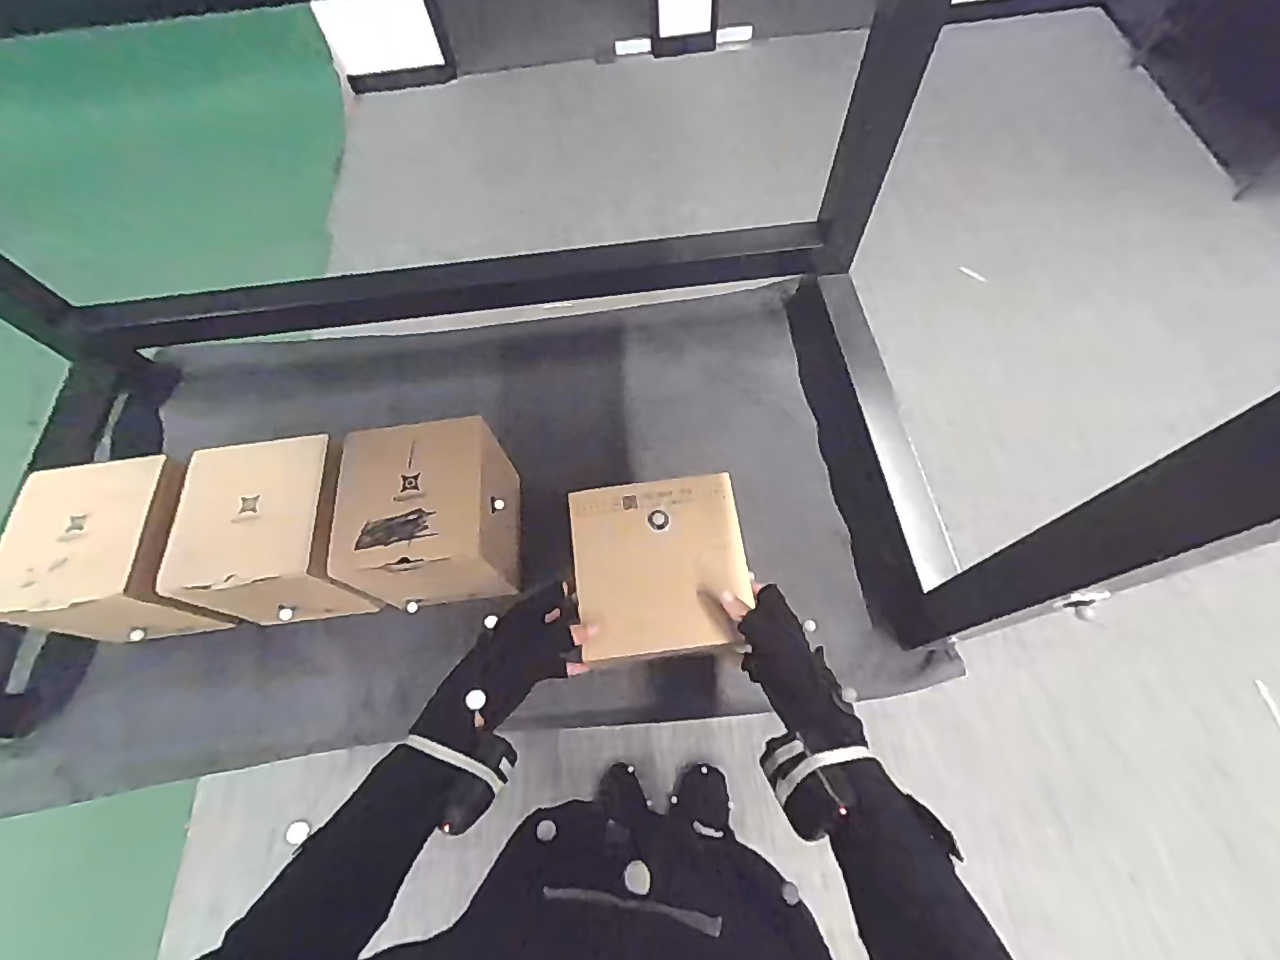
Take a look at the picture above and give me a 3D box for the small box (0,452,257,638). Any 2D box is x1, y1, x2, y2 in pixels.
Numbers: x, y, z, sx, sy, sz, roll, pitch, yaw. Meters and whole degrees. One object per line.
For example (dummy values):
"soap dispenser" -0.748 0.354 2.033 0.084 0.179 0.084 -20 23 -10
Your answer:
"small box" -0.625 0.088 0.678 0.168 0.176 0.179 -8 64 1
